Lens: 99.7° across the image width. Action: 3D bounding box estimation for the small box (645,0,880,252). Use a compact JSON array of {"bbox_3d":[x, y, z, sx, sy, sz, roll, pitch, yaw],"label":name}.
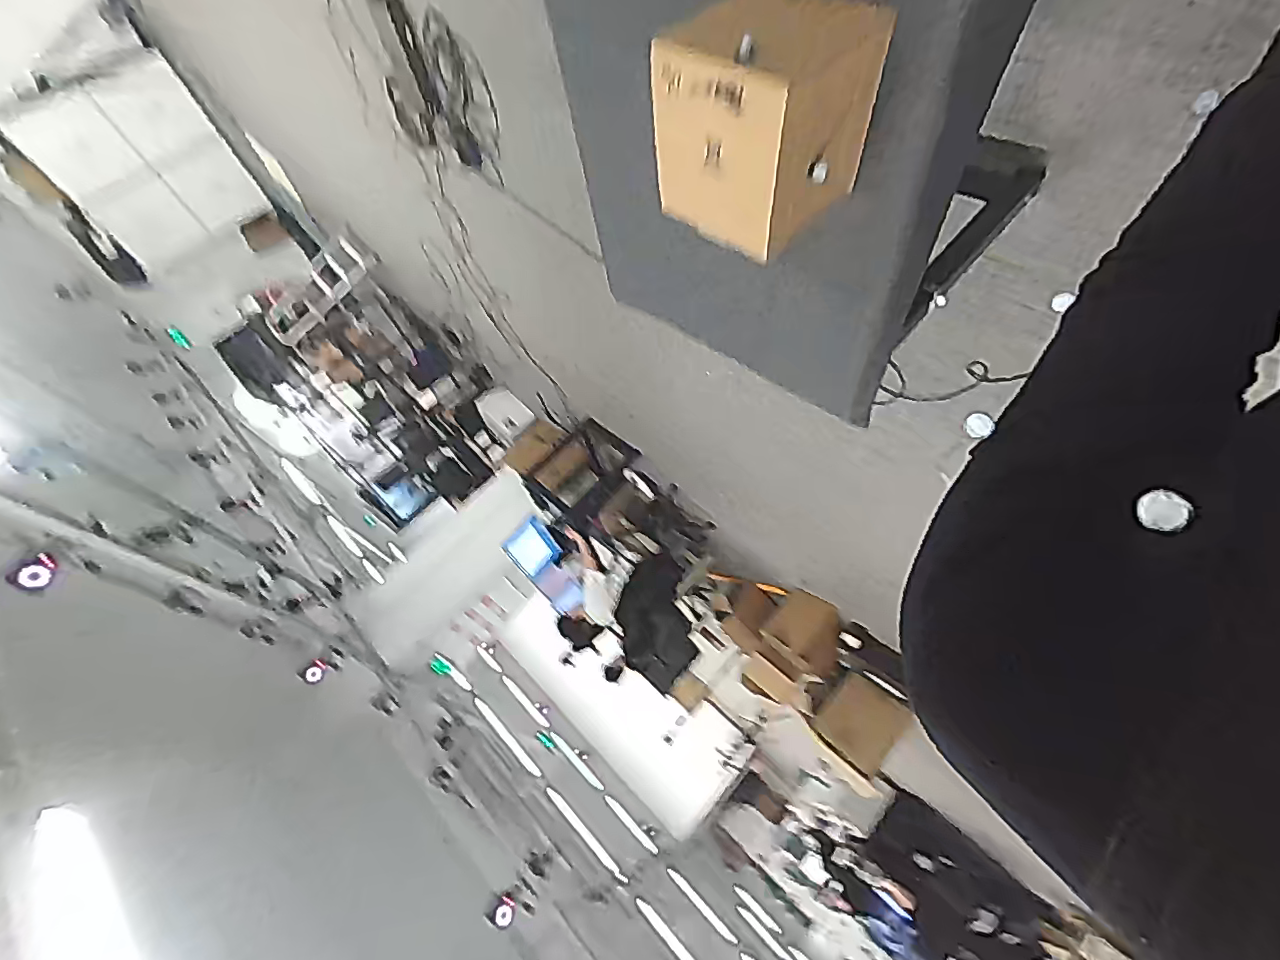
[{"bbox_3d":[0.126,-0.394,0.585,0.168,0.176,0.179,40,161,23],"label":"small box"}]
